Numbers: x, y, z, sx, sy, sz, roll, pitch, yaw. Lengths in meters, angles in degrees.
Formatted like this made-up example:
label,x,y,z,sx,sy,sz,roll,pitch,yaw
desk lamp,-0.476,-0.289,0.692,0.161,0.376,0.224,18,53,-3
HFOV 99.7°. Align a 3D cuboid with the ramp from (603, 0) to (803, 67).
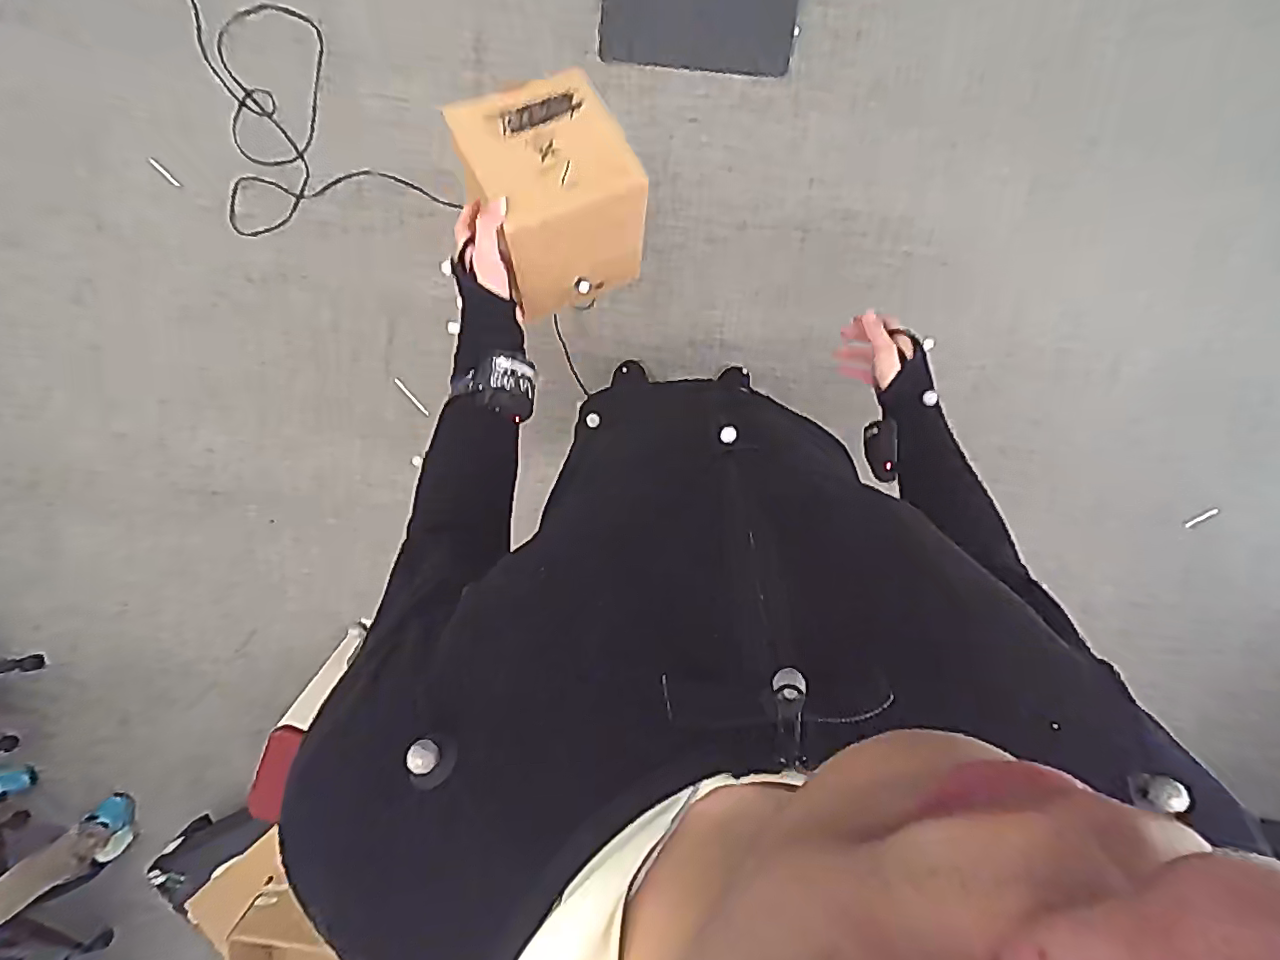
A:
label,x,y,z,sx,sy,sz,roll,pitch,yaw
ramp,0.188,-1.530,1.184,0.509,0.206,0.991,4,104,0
